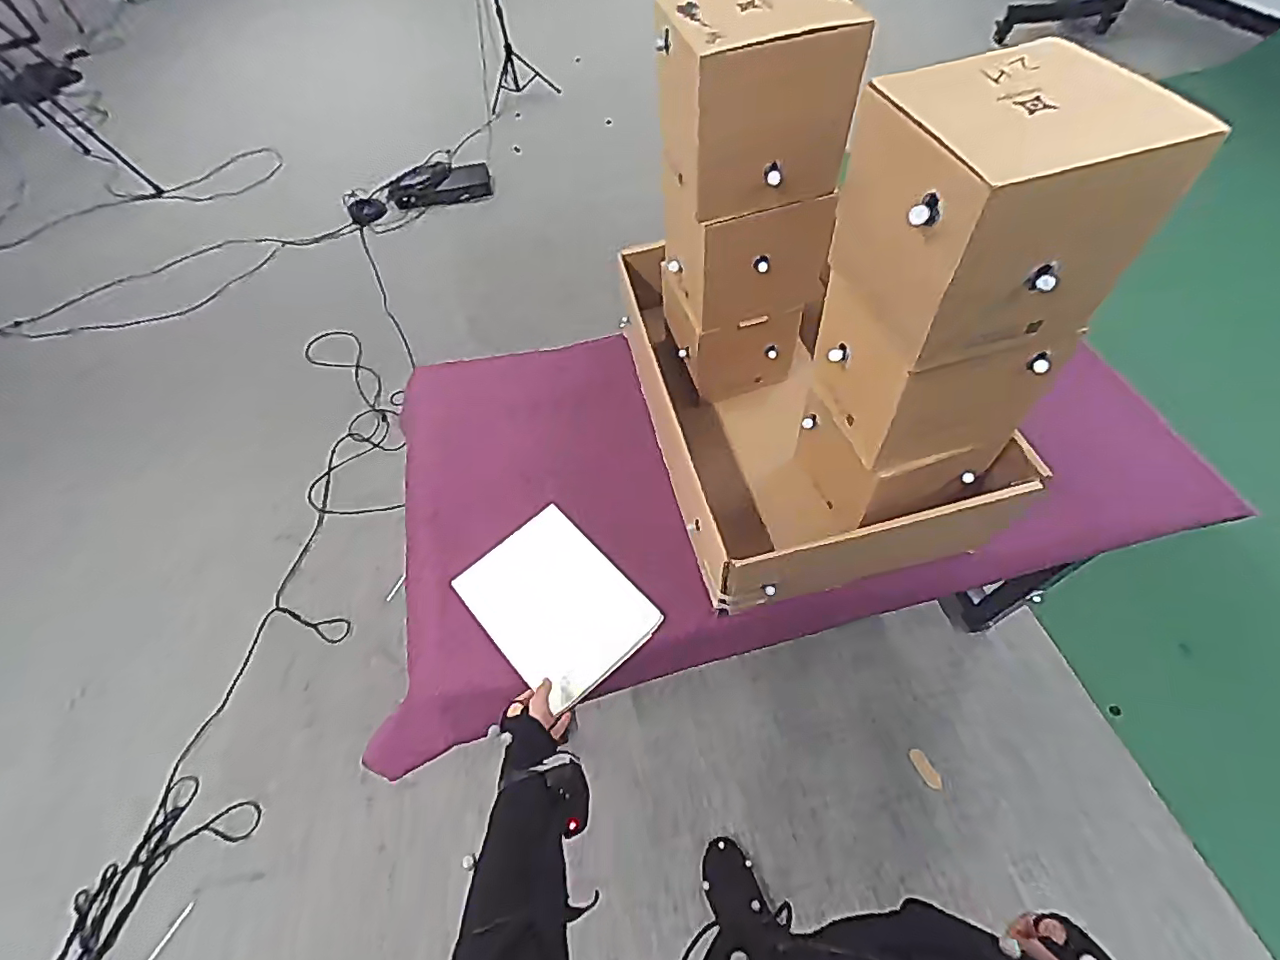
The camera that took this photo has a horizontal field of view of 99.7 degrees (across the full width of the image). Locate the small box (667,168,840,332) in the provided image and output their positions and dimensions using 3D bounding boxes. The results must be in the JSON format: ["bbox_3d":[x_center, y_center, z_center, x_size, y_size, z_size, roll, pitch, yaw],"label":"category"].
[{"bbox_3d":[0.143,-0.336,0.749,0.179,0.176,0.168,-16,58,-5],"label":"small box"}]

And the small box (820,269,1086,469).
[{"bbox_3d":[0.313,-0.134,0.595,0.179,0.176,0.168,-14,55,-3],"label":"small box"}]

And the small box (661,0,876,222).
[{"bbox_3d":[0.127,-0.425,0.612,0.179,0.176,0.168,-14,57,-5],"label":"small box"}]

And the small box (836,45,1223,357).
[{"bbox_3d":[0.291,-0.224,0.459,0.168,0.176,0.179,-14,55,-3],"label":"small box"}]
